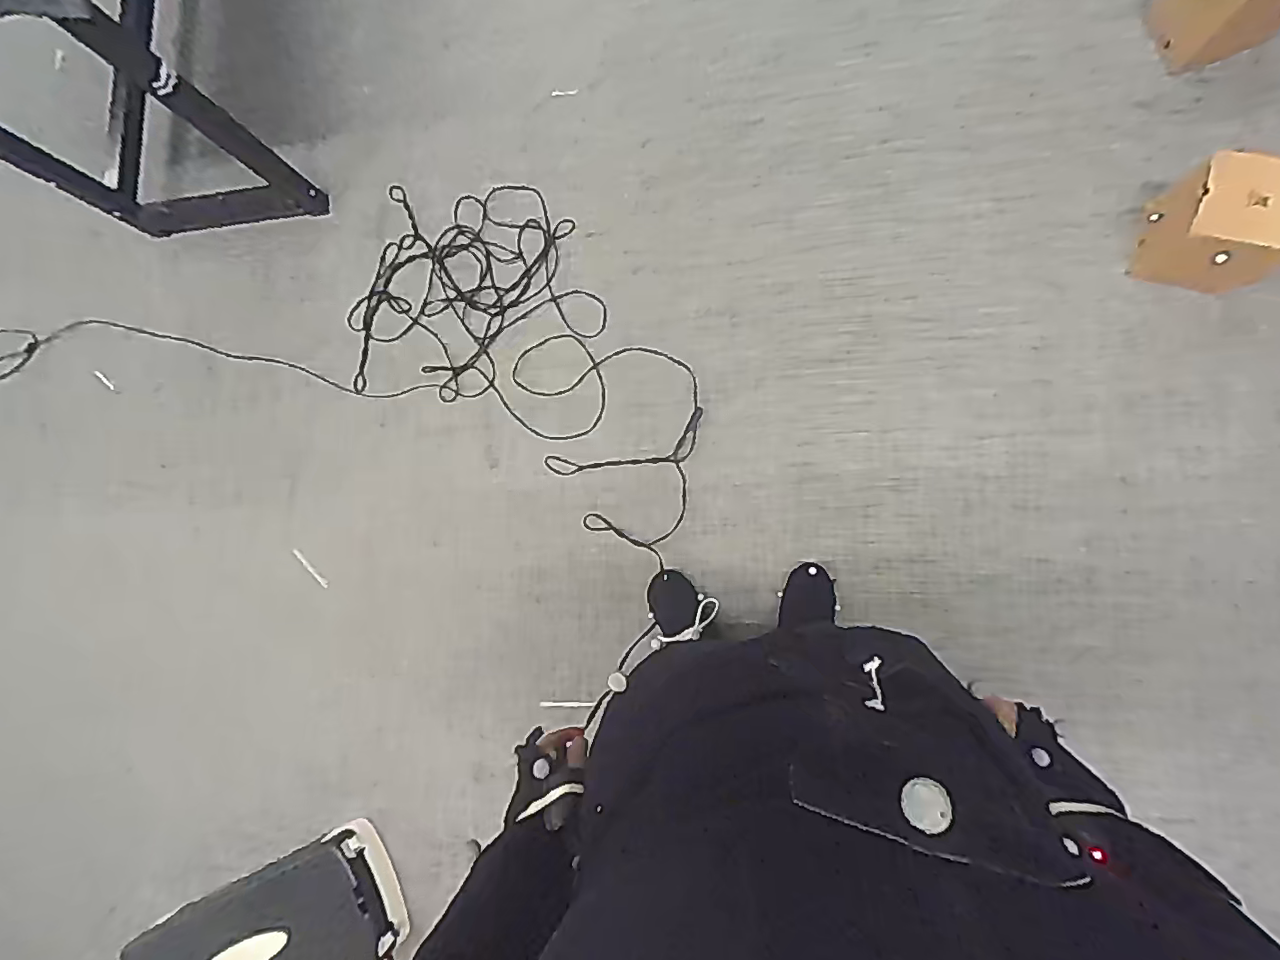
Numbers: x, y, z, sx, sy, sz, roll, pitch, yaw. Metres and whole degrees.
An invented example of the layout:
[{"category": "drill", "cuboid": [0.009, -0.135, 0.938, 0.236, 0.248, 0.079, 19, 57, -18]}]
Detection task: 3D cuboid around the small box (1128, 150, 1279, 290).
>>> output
[{"category": "small box", "cuboid": [1.104, -0.484, 1.031, 0.179, 0.176, 0.168, 18, 88, 12]}]
